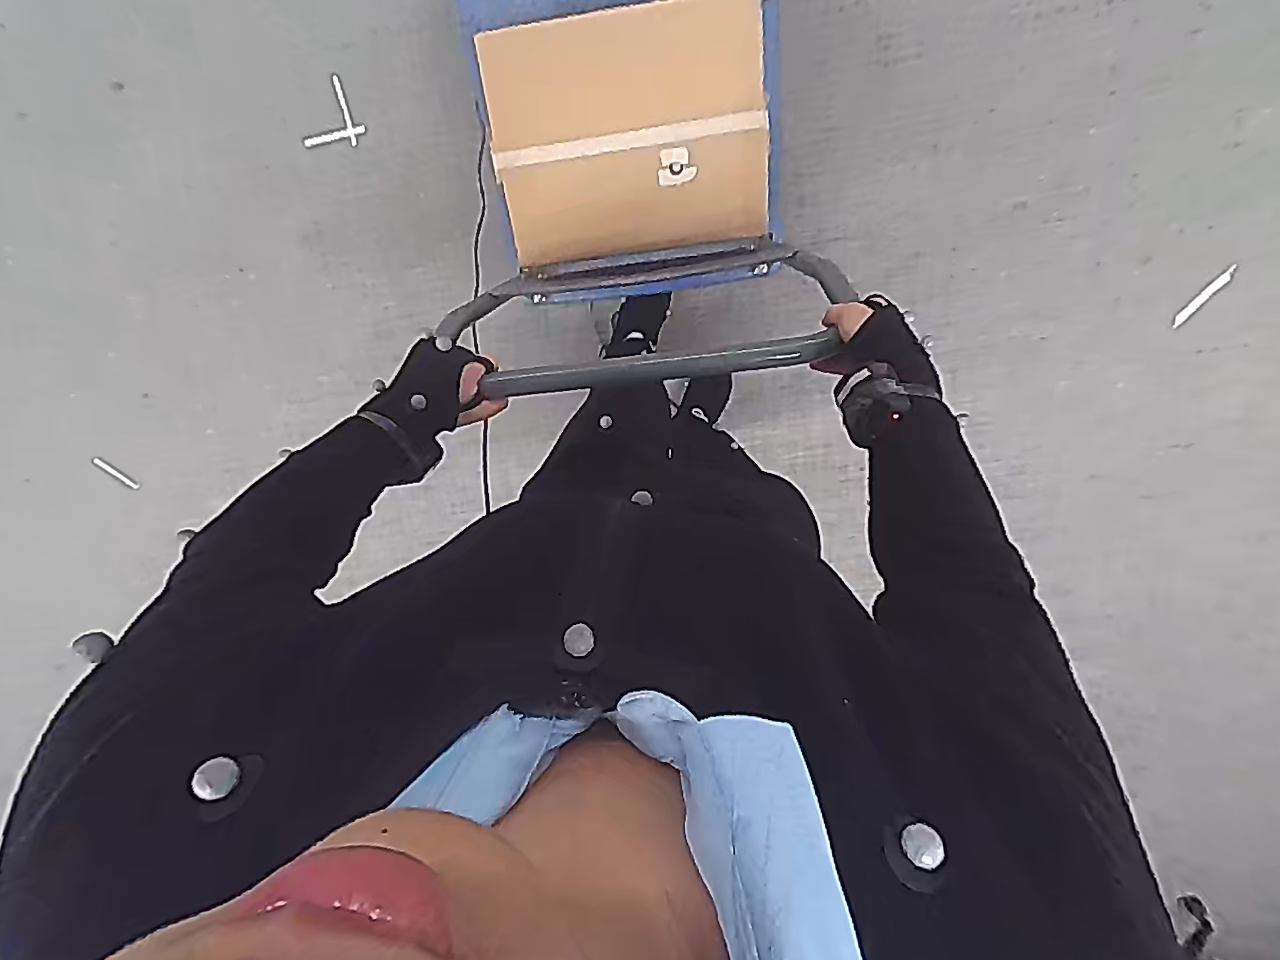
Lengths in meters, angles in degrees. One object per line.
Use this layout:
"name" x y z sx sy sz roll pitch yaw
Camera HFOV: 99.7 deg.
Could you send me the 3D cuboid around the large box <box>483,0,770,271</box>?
"large box" -0.007 -0.568 0.952 0.408 0.320 0.320 -6 115 5
